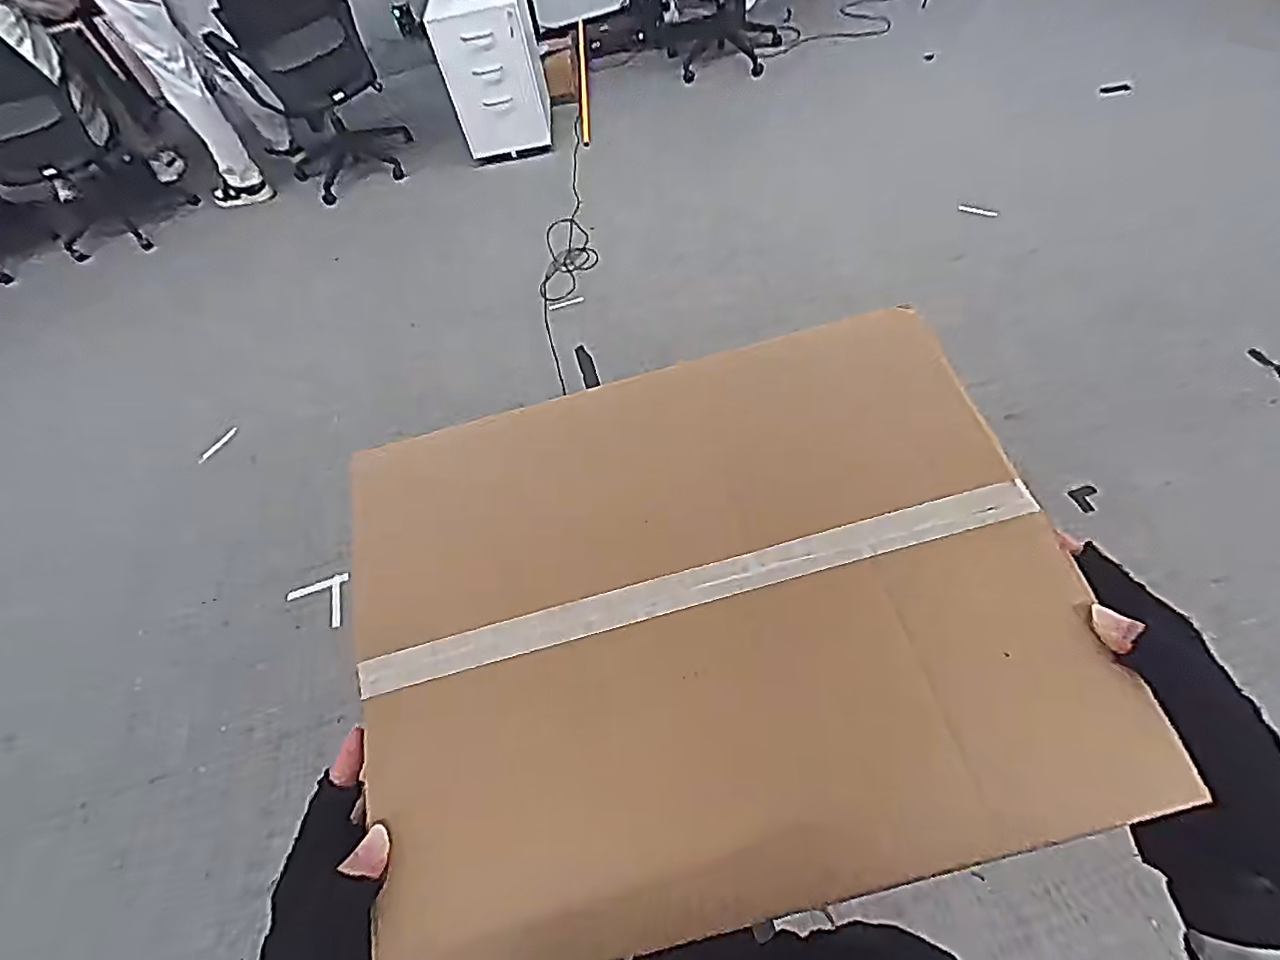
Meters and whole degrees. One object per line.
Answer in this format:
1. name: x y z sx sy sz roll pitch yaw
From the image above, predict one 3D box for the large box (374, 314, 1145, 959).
1. large box: 0.048 0.125 0.470 0.408 0.320 0.320 -16 66 0
